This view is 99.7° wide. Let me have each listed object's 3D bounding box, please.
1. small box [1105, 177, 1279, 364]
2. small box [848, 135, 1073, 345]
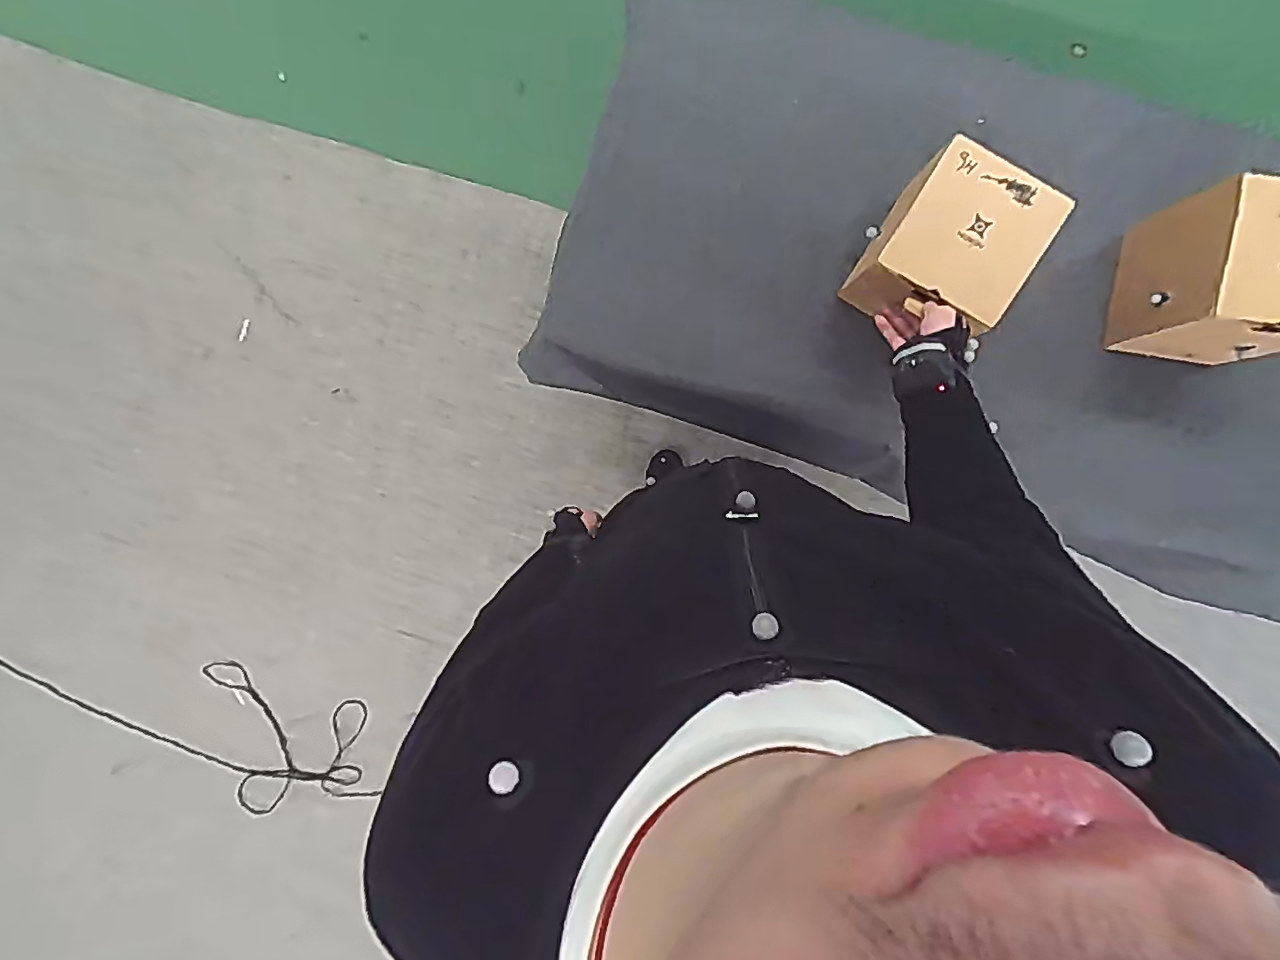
[{"bbox_3d":[0.780,-0.264,0.724,0.168,0.176,0.179,10,90,1],"label":"small box"},{"bbox_3d":[0.407,-0.304,0.730,0.168,0.176,0.179,32,97,0],"label":"small box"}]
